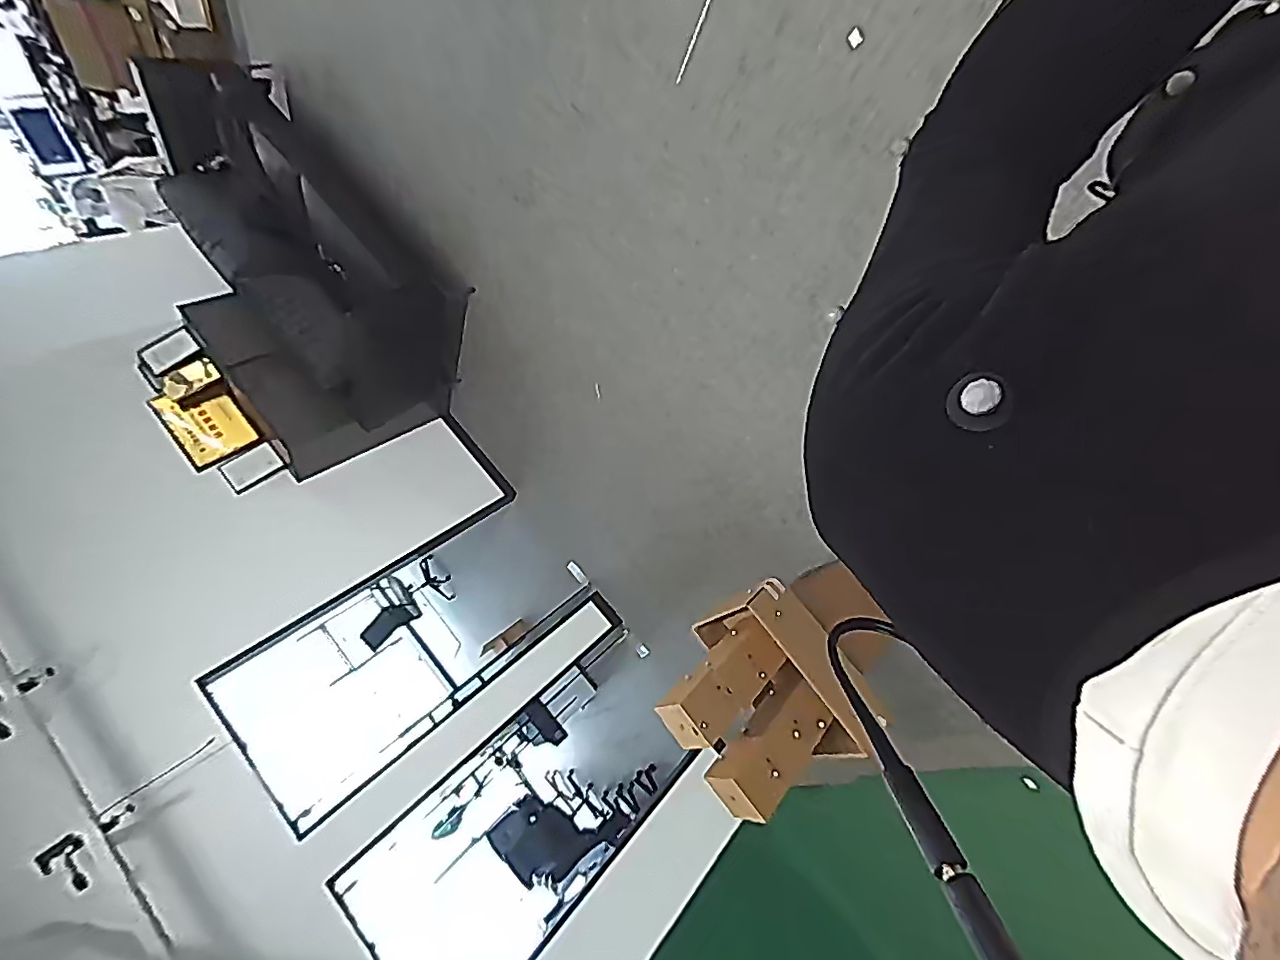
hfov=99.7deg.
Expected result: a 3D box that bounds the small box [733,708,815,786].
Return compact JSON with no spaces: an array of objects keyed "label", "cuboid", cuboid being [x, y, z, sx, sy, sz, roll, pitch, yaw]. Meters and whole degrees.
[{"label":"small box","cuboid":[0.455,0.898,1.826,0.168,0.176,0.179,51,144,6]}]

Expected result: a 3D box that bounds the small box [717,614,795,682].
[{"label":"small box","cuboid":[0.415,0.606,1.932,0.168,0.176,0.179,53,144,5]}]

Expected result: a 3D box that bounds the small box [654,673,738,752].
[{"label":"small box","cuboid":[0.184,0.749,1.747,0.168,0.176,0.179,53,144,4]}]

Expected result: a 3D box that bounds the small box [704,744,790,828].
[{"label":"small box","cuboid":[0.344,0.971,1.732,0.168,0.176,0.179,52,144,5]}]

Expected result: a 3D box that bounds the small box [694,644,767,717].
[{"label":"small box","cuboid":[0.304,0.681,1.837,0.168,0.176,0.179,53,145,4]}]
